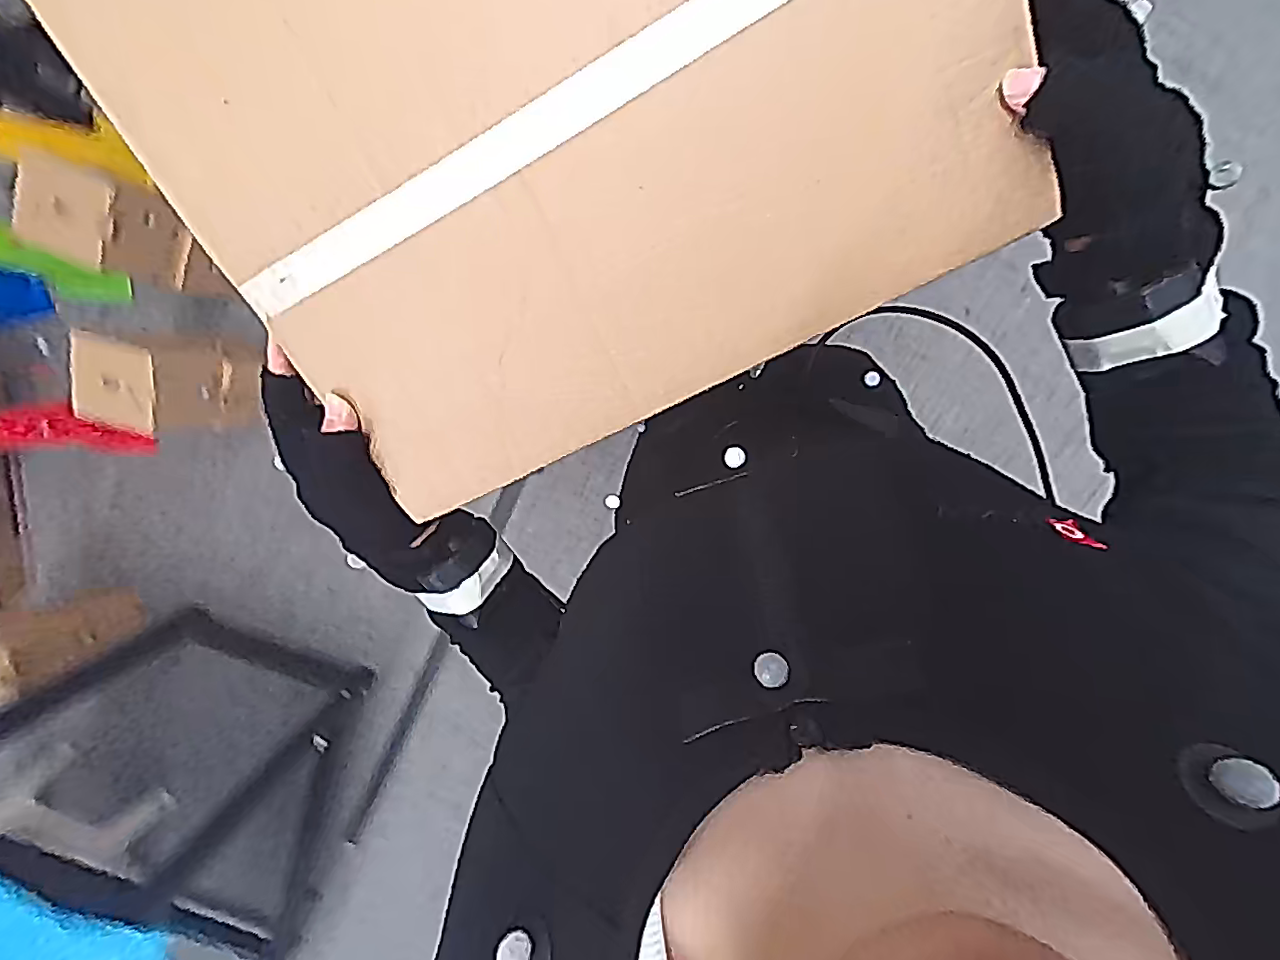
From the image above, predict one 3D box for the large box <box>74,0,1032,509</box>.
[{"bbox_3d":[-0.027,-0.243,0.409,0.408,0.320,0.320,-23,111,11],"label":"large box"}]
